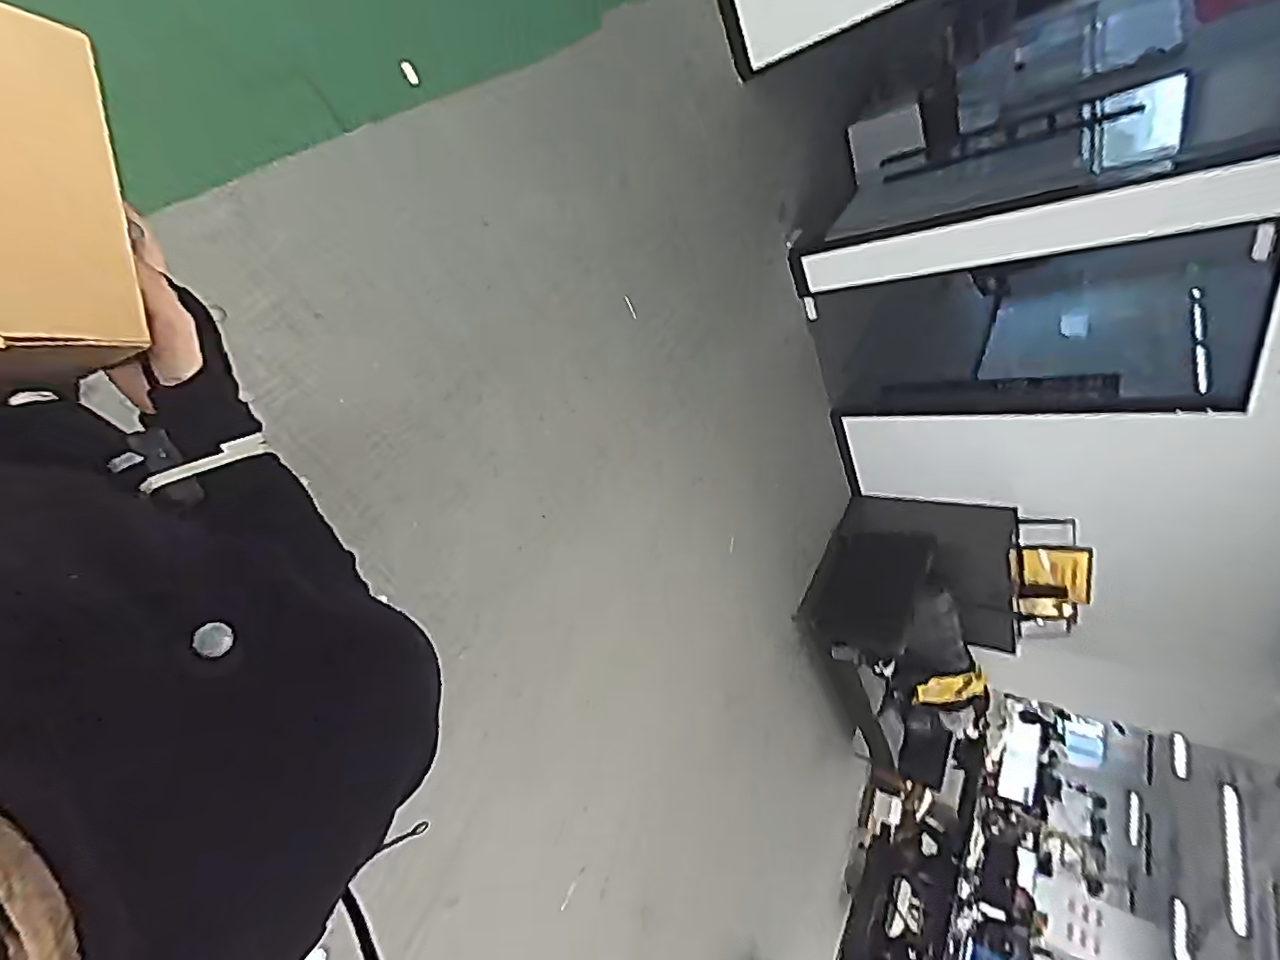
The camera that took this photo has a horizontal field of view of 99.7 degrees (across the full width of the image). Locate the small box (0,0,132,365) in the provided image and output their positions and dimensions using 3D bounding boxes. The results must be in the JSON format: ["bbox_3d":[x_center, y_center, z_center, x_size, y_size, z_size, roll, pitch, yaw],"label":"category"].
[{"bbox_3d":[-0.416,-0.160,0.281,0.168,0.176,0.179,-18,105,-56],"label":"small box"}]
